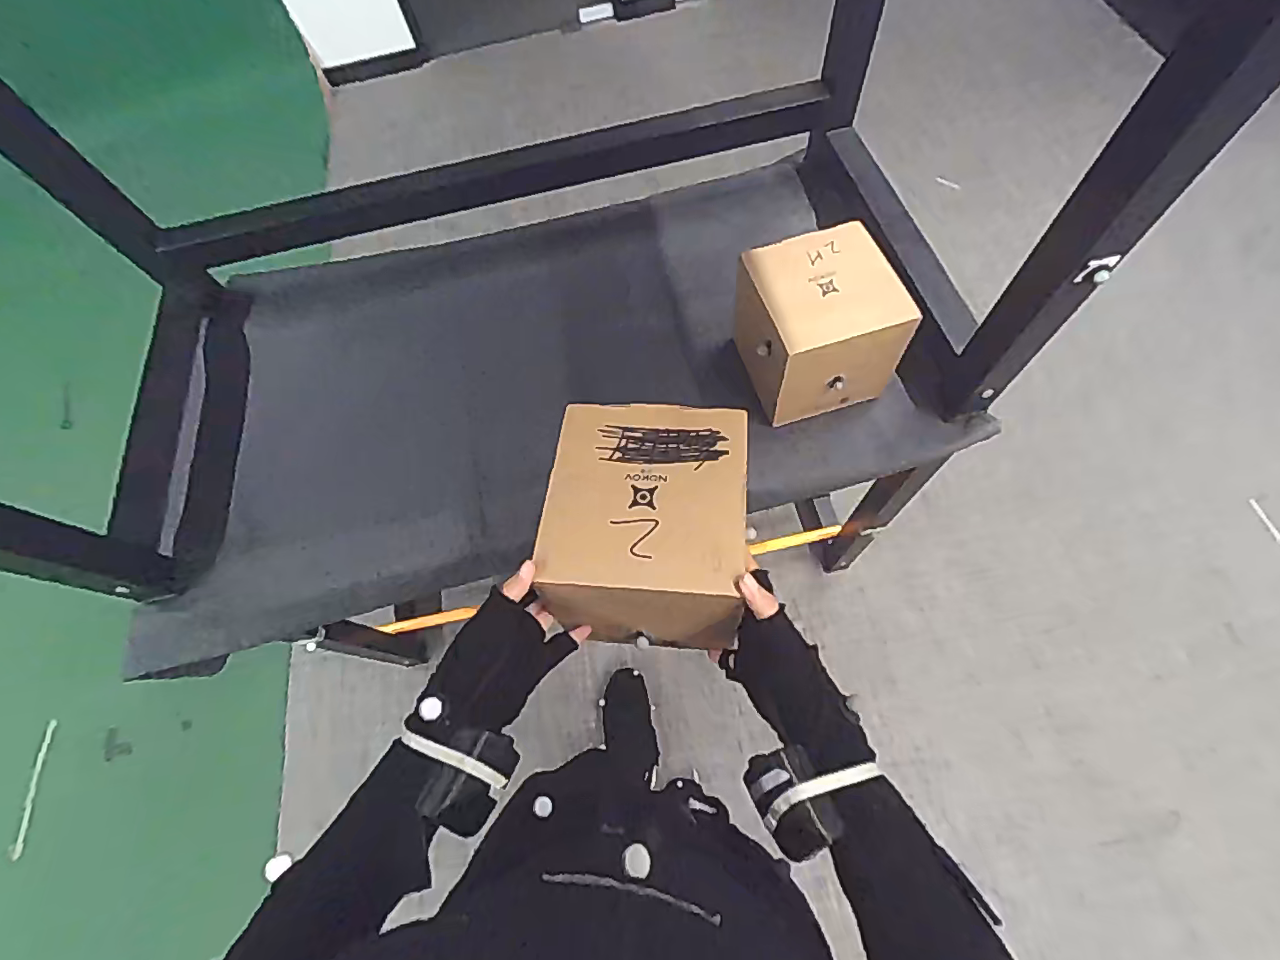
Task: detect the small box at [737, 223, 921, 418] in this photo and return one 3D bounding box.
[{"bbox_3d":[0.239,-0.204,0.735,0.168,0.176,0.179,-16,64,-2],"label":"small box"}]
